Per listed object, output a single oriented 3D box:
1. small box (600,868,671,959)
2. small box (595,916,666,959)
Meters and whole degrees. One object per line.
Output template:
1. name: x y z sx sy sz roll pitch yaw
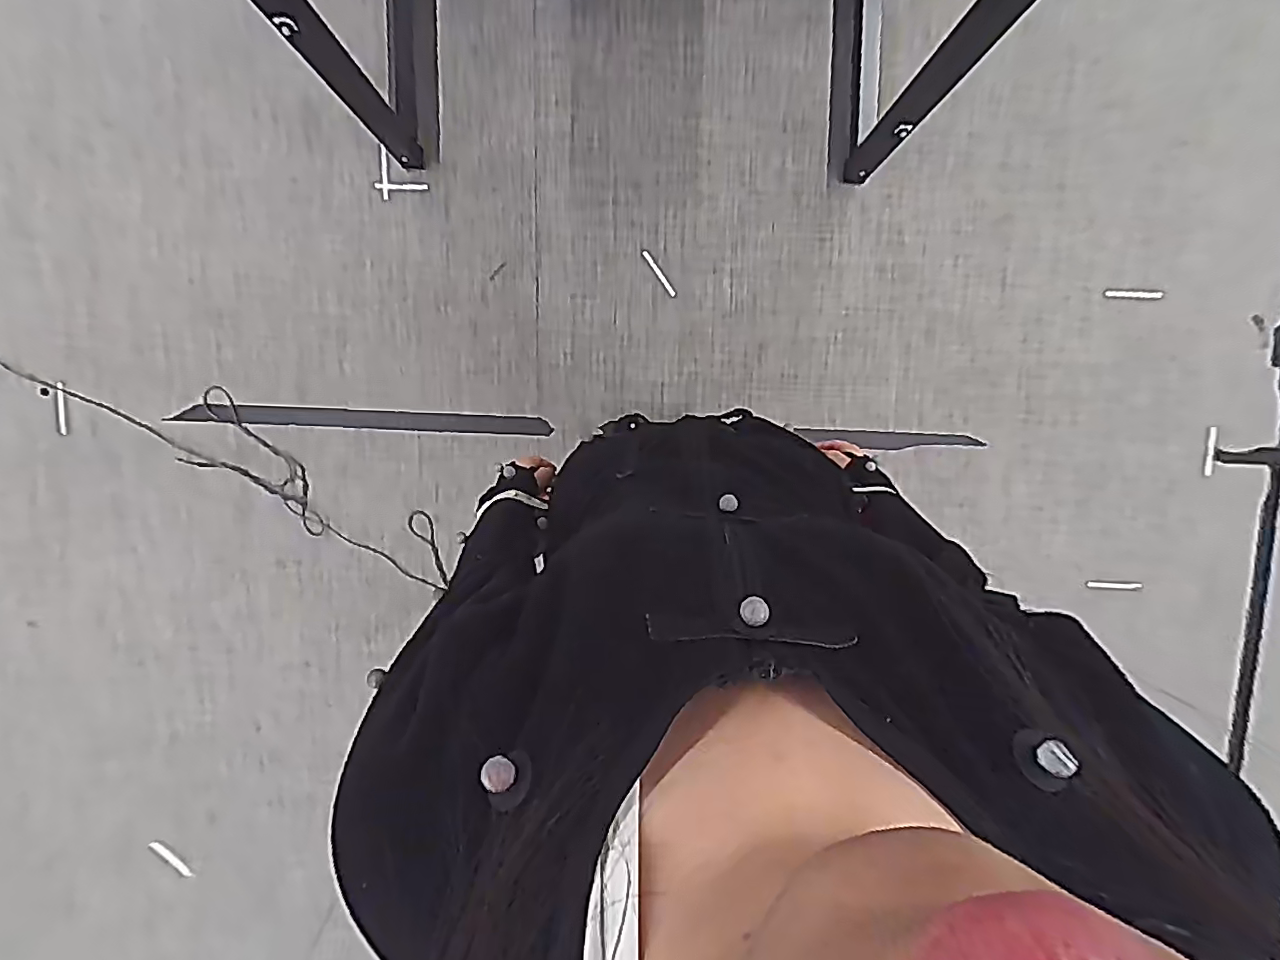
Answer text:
1. small box: -0.014 1.235 1.522 0.168 0.176 0.179 -12 96 0
2. small box: -0.016 1.259 1.359 0.168 0.176 0.179 -12 96 -2
